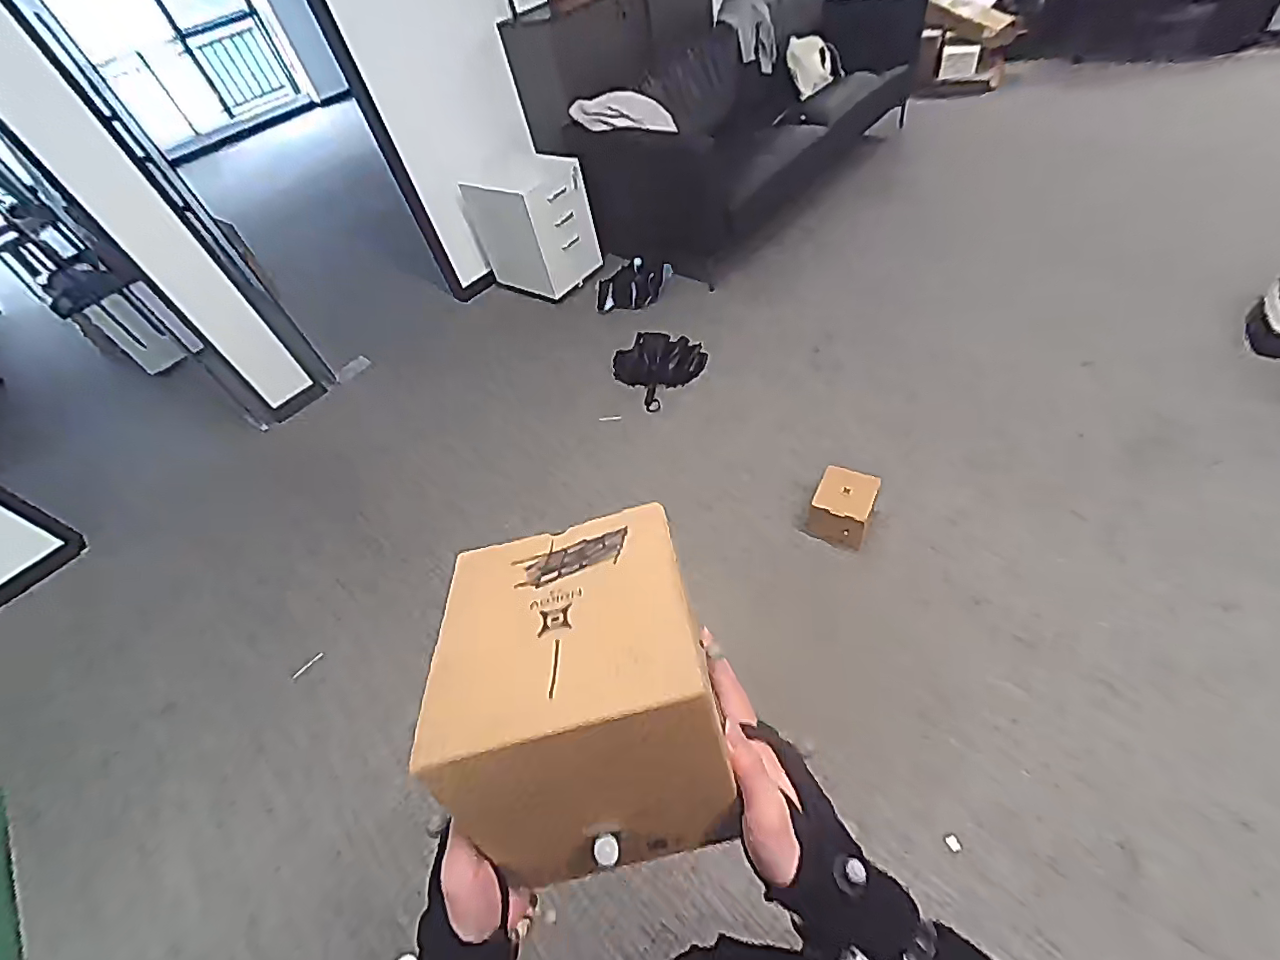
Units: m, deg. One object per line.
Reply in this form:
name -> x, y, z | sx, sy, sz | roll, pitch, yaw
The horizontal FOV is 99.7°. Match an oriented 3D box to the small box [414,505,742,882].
small box -> -0.033, 0.150, 0.399 | 0.168, 0.176, 0.179 | -16, 32, 3

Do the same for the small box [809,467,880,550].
small box -> 0.645, 0.093, 1.716 | 0.168, 0.176, 0.179 | 18, 55, 26
